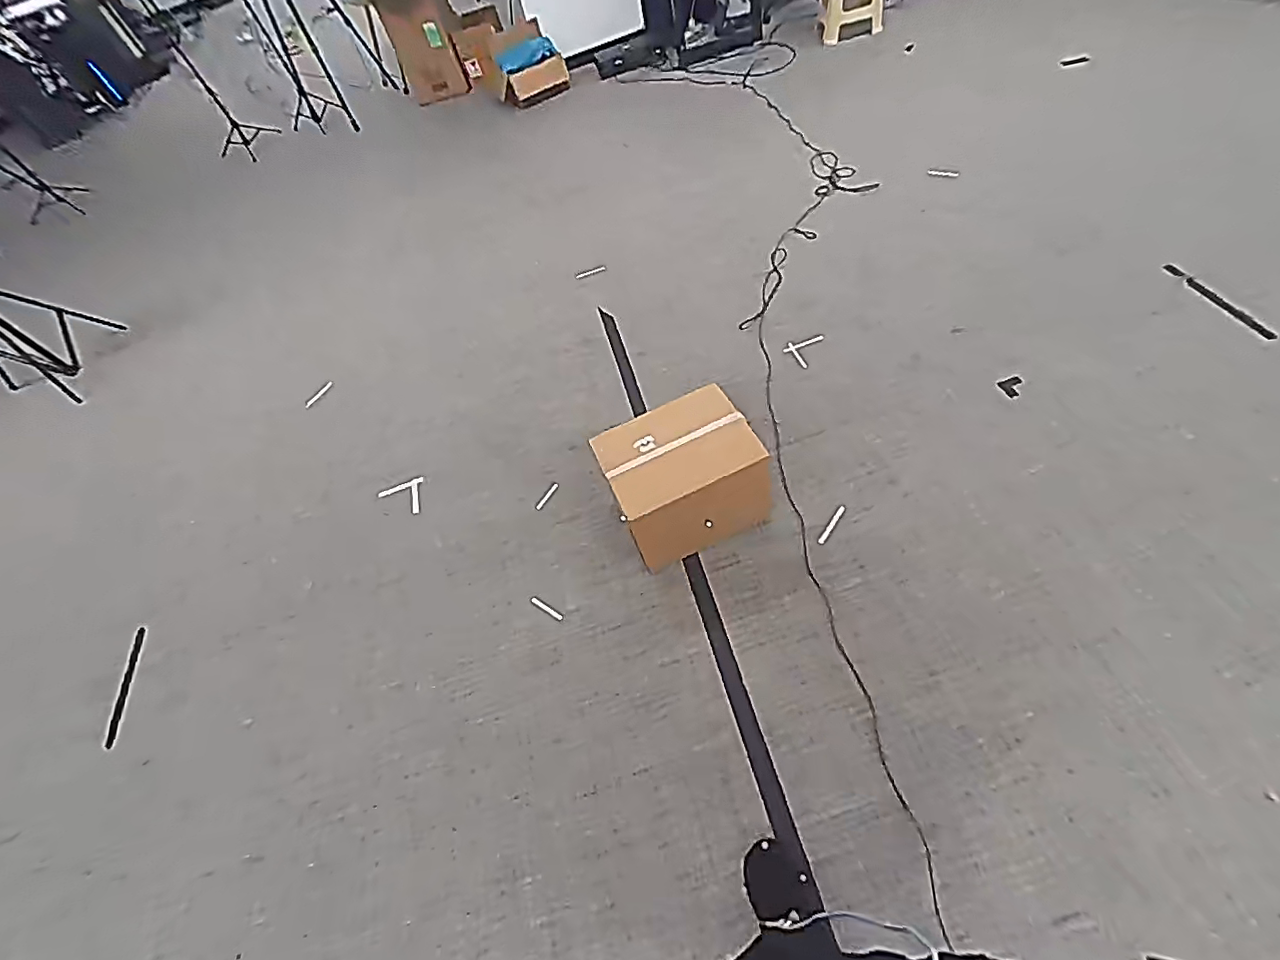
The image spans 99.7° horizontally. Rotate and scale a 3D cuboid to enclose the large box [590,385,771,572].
[{"bbox_3d":[0.126,0.002,1.566,0.408,0.320,0.320,-26,52,-3],"label":"large box"}]
